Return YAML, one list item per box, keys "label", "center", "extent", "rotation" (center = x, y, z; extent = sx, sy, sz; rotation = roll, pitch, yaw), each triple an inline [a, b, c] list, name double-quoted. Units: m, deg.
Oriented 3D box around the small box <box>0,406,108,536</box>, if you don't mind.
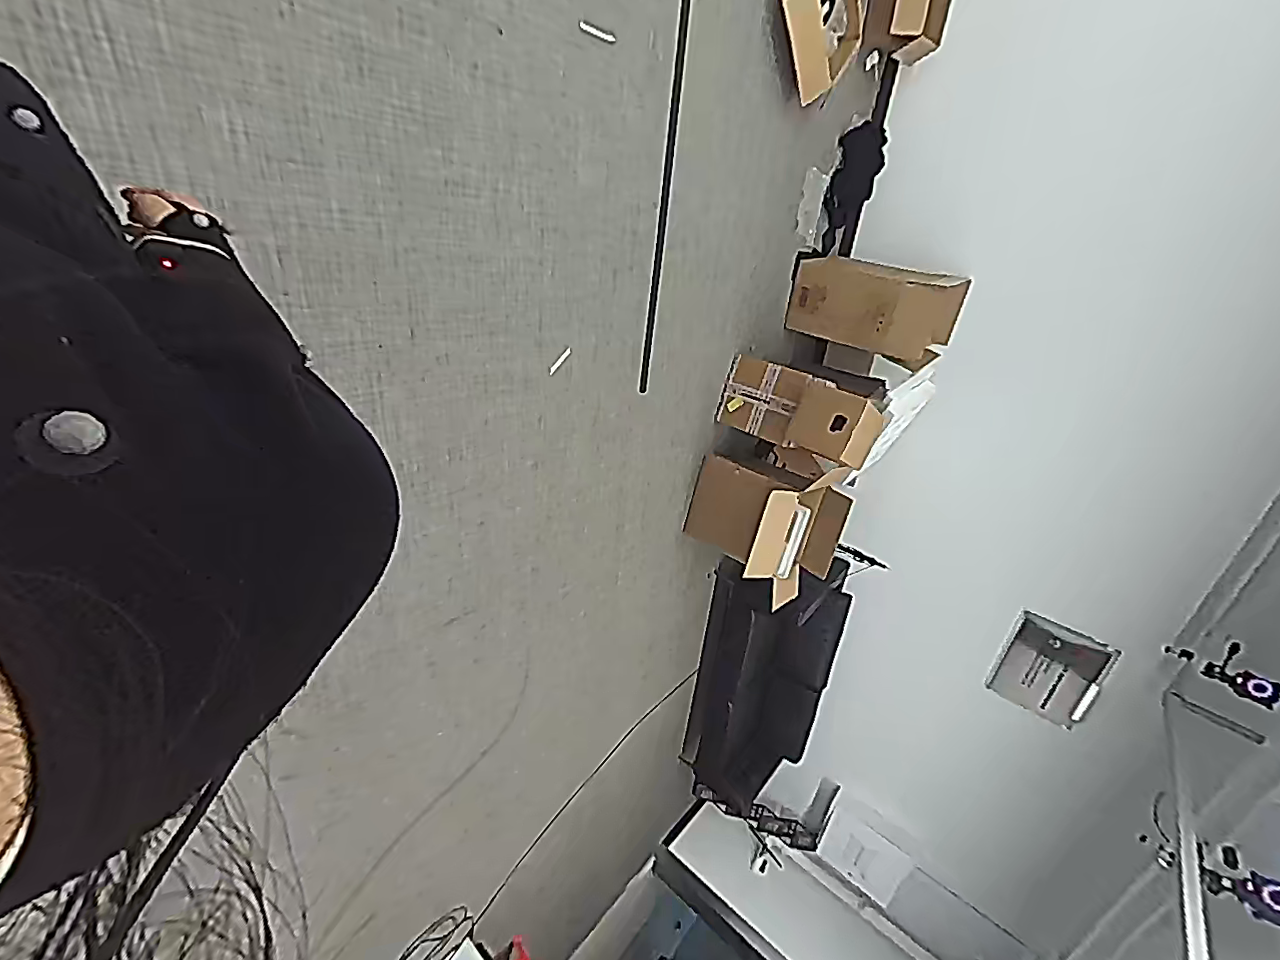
- label: "small box"
  center: [-1.134, -0.026, 0.991]
  extent: [0.168, 0.176, 0.179]
  rotation: [-27, 131, -43]
